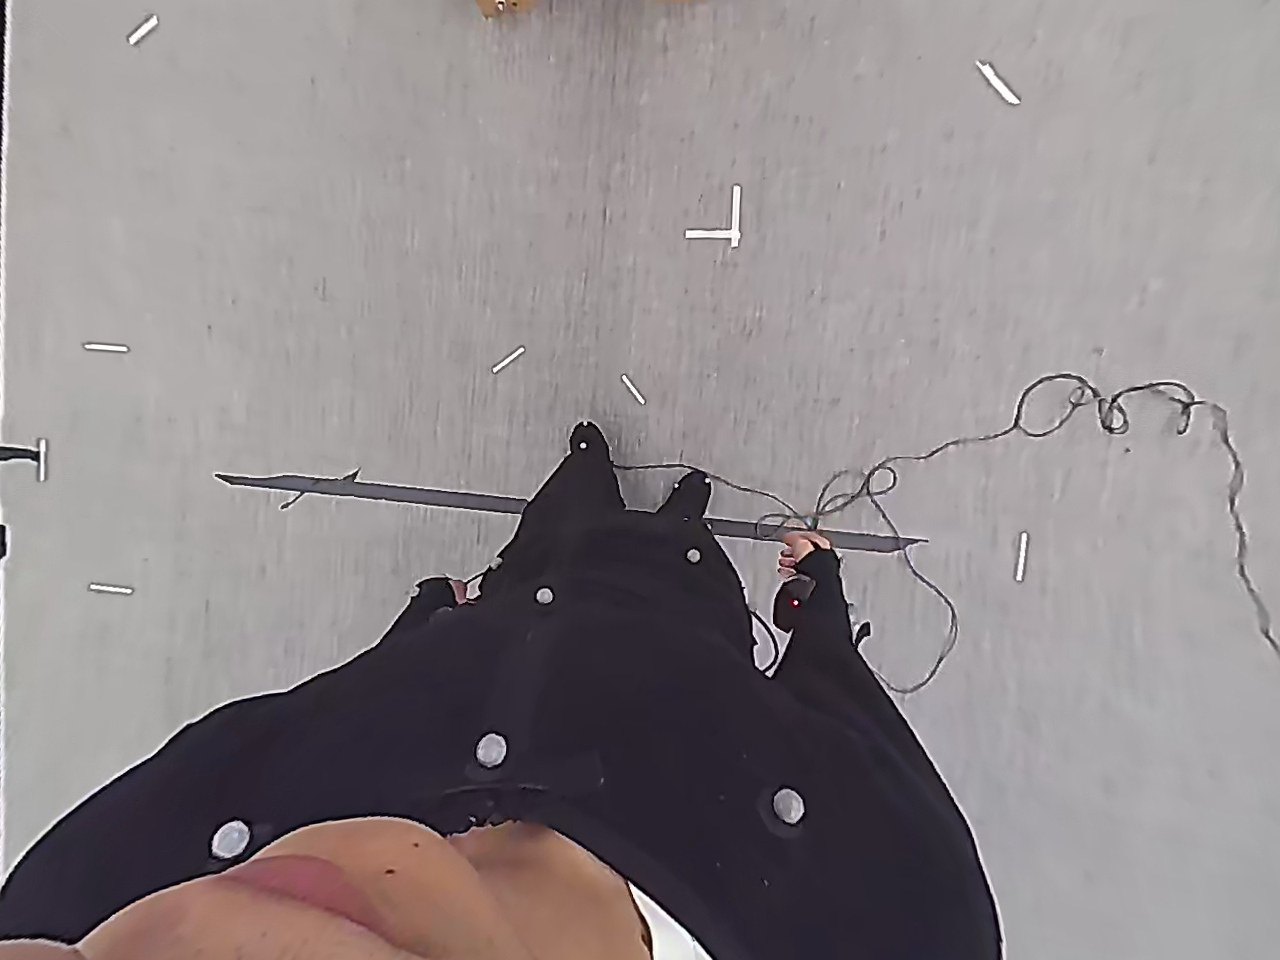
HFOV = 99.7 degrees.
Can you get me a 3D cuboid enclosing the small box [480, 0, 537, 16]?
[{"bbox_3d":[-0.399,-1.472,1.523,0.168,0.176,0.179,-6,92,6],"label":"small box"}]
